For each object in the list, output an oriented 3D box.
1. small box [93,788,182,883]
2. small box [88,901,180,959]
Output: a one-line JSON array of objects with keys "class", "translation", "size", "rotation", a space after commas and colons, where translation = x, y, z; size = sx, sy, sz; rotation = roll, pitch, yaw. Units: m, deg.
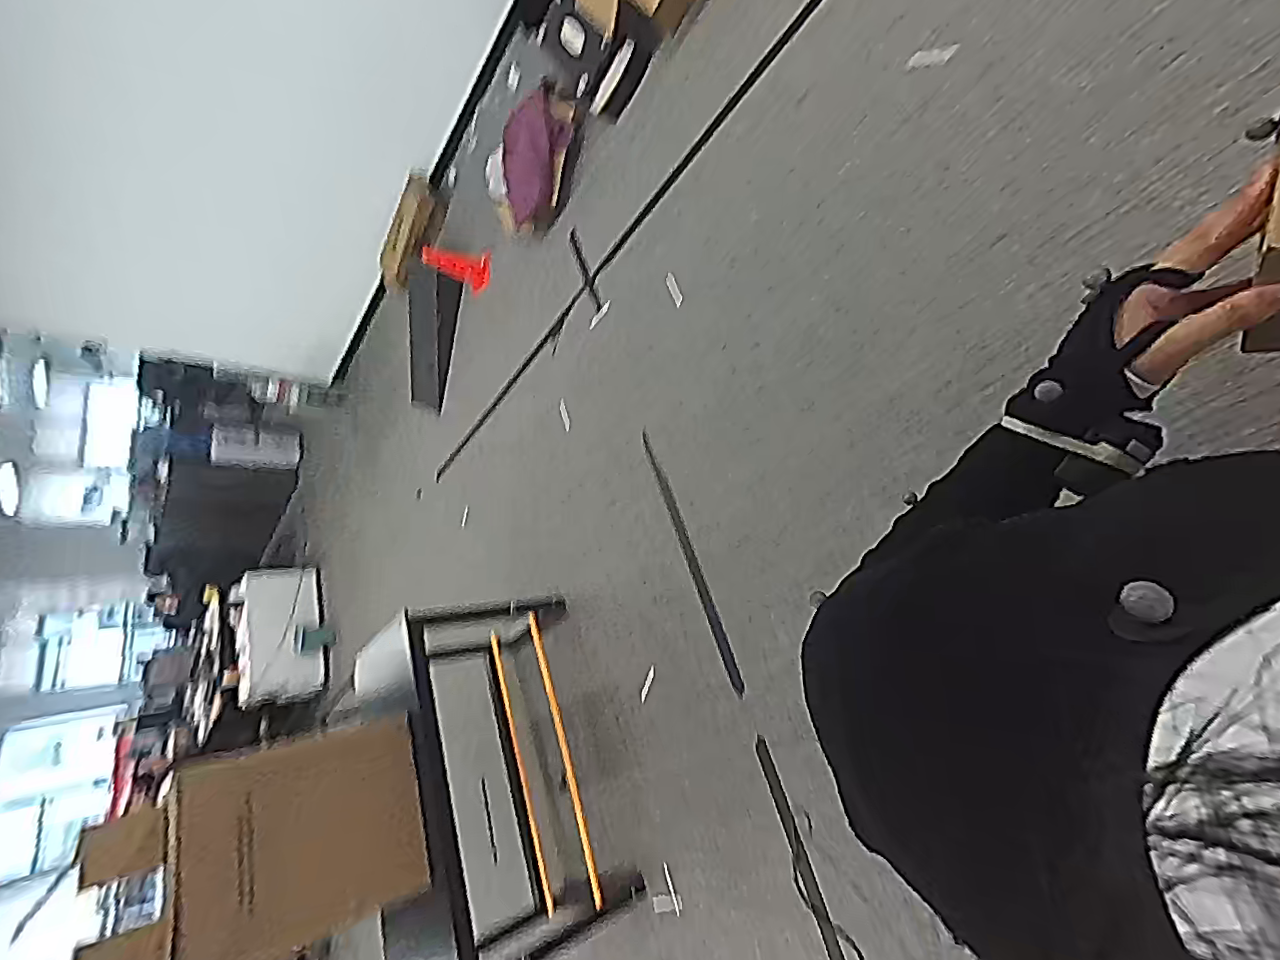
[{"class": "small box", "translation": [-1.392, 0.985, 1.503], "size": [0.179, 0.176, 0.168], "rotation": [-42, 59, 36]}, {"class": "small box", "translation": [-1.317, 1.230, 1.404], "size": [0.179, 0.176, 0.168], "rotation": [-41, 59, 36]}]
